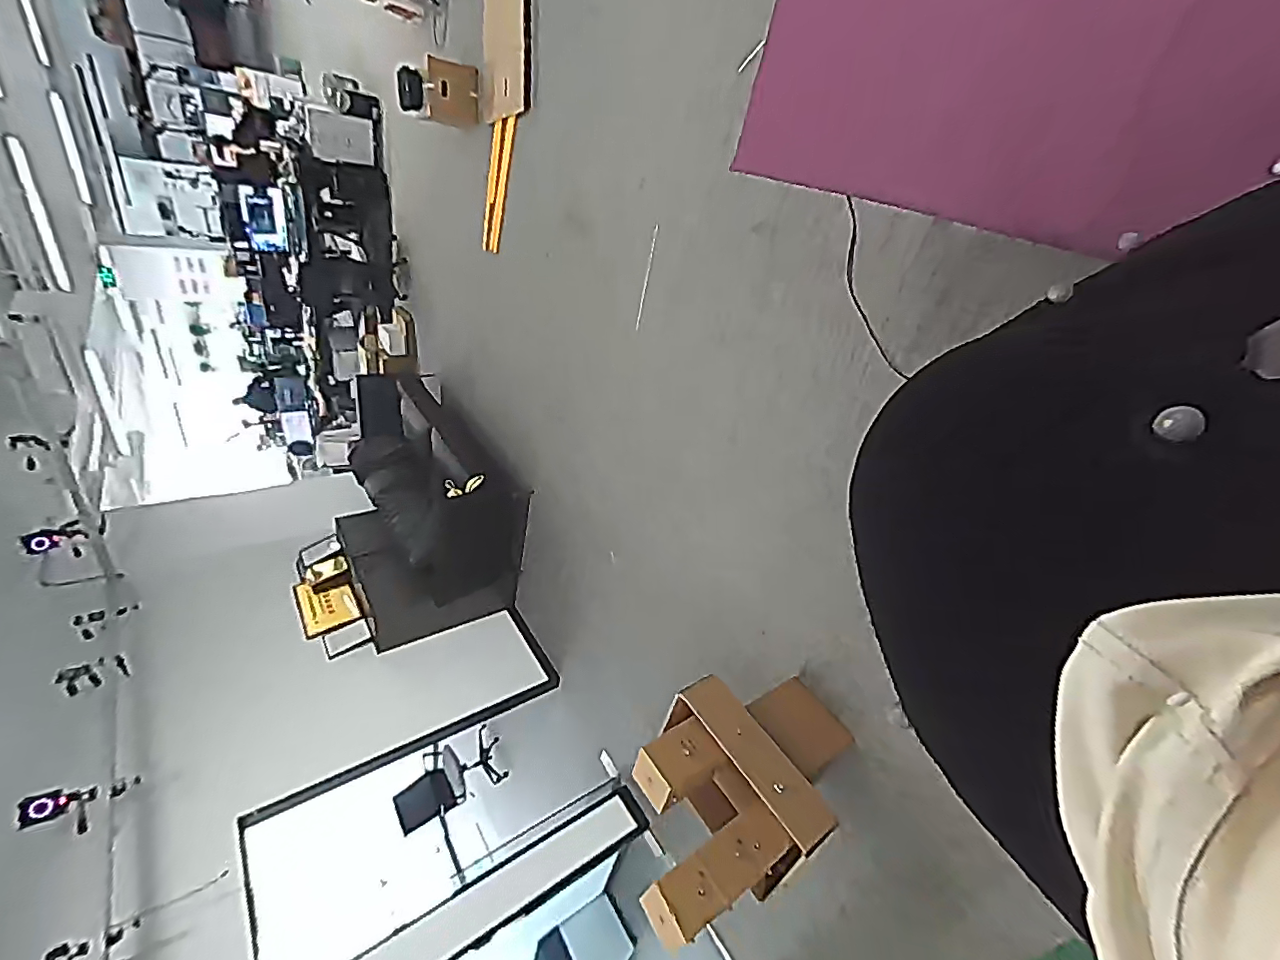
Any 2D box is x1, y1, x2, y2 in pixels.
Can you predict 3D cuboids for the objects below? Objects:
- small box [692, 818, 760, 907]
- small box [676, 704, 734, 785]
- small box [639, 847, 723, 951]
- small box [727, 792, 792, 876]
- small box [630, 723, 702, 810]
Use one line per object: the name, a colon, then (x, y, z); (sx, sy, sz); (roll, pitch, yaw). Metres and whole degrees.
small box: (0.254, 1.235, 1.731); (0.168, 0.176, 0.179); (47, 134, 33)
small box: (0.219, 0.955, 1.965); (0.168, 0.176, 0.179); (44, 134, 37)
small box: (0.125, 1.264, 1.638); (0.168, 0.176, 0.179); (48, 135, 33)
small box: (0.384, 1.205, 1.826); (0.168, 0.176, 0.179); (46, 134, 36)
small box: (0.091, 0.985, 1.868); (0.168, 0.176, 0.179); (43, 132, 37)
